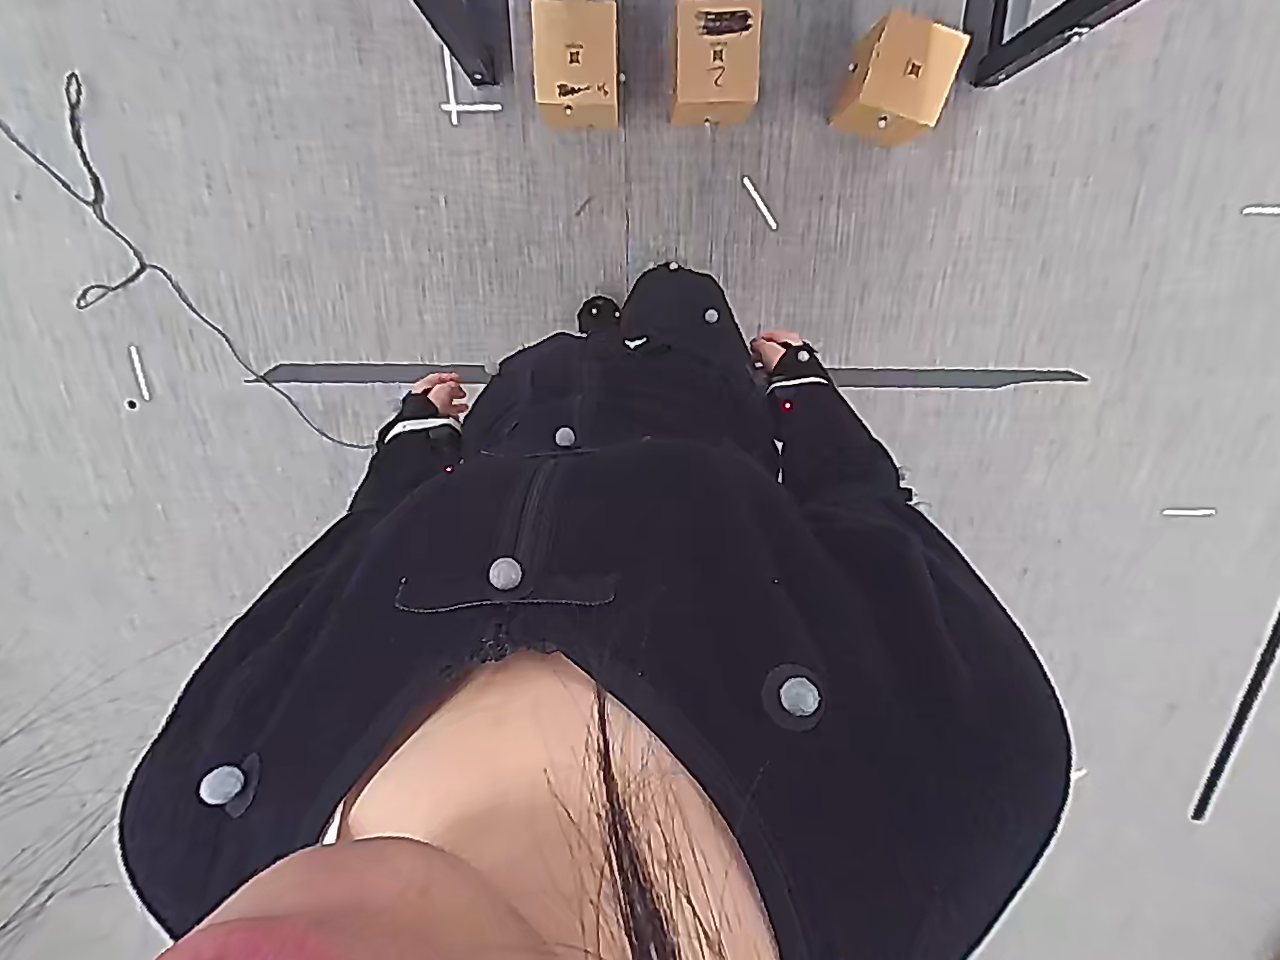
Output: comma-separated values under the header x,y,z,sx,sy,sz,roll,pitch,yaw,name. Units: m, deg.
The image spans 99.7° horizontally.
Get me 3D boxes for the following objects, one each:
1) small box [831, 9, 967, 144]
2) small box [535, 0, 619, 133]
x,y,z,sx,sy,sz,roll,pitch,yaw,name
0.544,-0.851,1.163,0.179,0.176,0.168,16,108,-6,small box
-0.129,-0.863,1.139,0.168,0.176,0.179,1,107,-2,small box
